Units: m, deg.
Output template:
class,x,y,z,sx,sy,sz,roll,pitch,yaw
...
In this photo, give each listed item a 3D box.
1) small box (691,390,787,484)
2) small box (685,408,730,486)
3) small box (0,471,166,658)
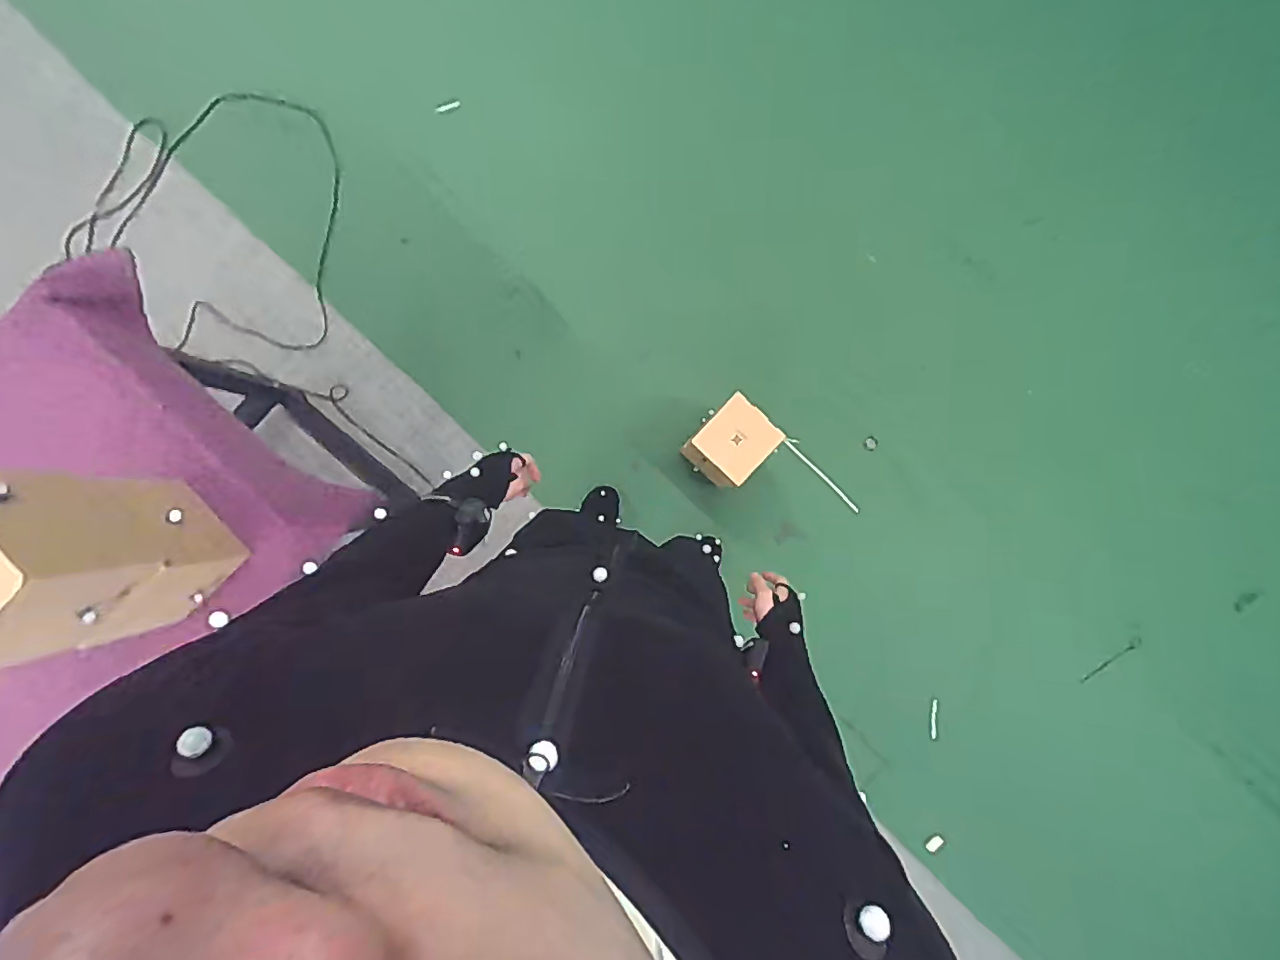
class,x,y,z,sx,sy,sz,roll,pitch,yaw
small box,0.246,-0.101,1.403,0.168,0.176,0.179,43,88,1
small box,0.243,-0.100,1.564,0.168,0.176,0.179,43,90,1
small box,-0.761,0.103,0.663,0.179,0.176,0.168,44,91,1
